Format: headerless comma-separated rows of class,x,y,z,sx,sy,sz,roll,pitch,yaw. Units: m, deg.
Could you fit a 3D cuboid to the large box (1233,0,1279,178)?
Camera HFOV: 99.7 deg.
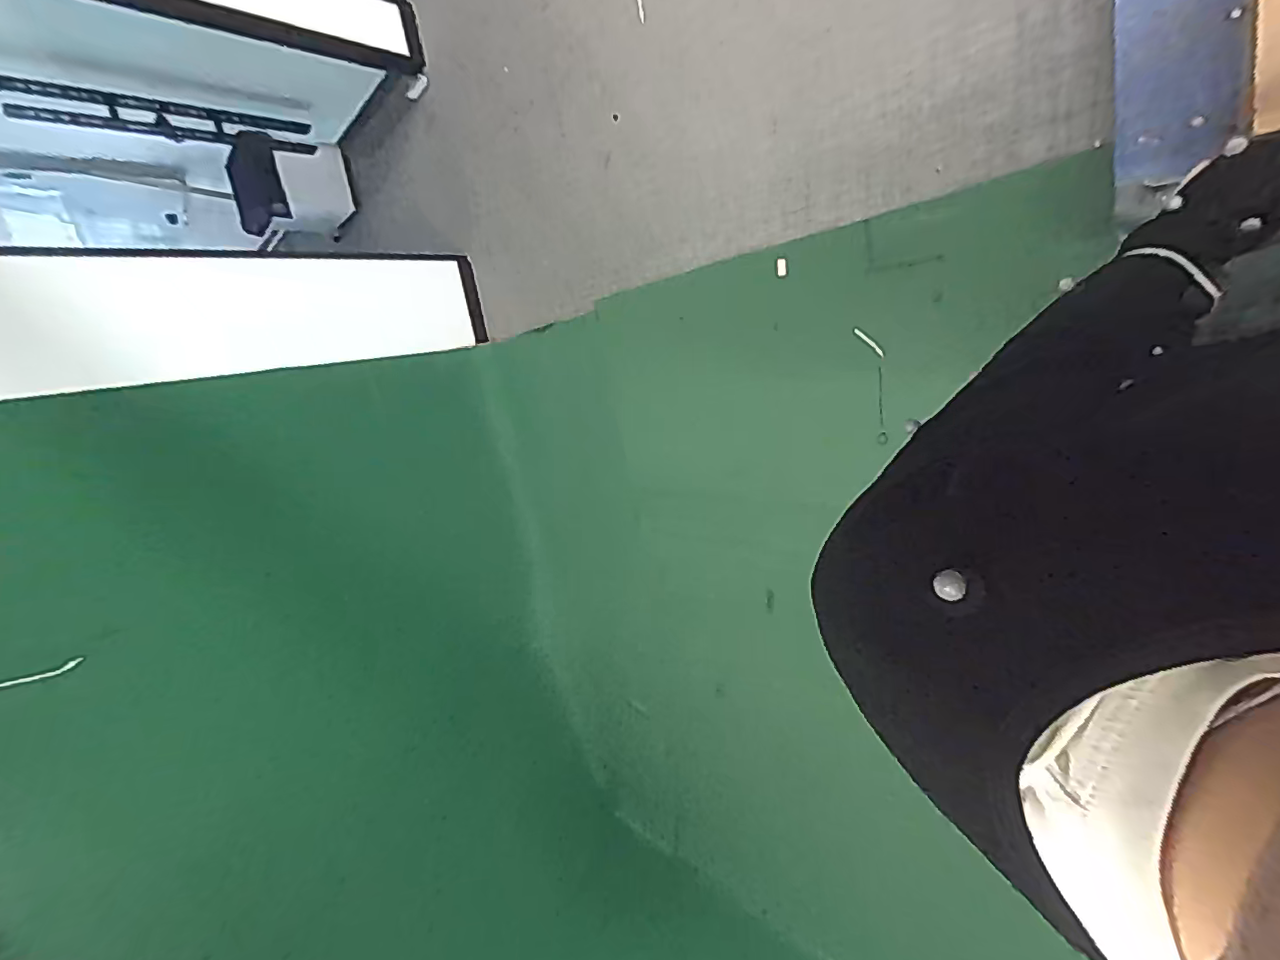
large box,1.005,-0.682,0.702,0.320,0.320,0.408,0,103,44
